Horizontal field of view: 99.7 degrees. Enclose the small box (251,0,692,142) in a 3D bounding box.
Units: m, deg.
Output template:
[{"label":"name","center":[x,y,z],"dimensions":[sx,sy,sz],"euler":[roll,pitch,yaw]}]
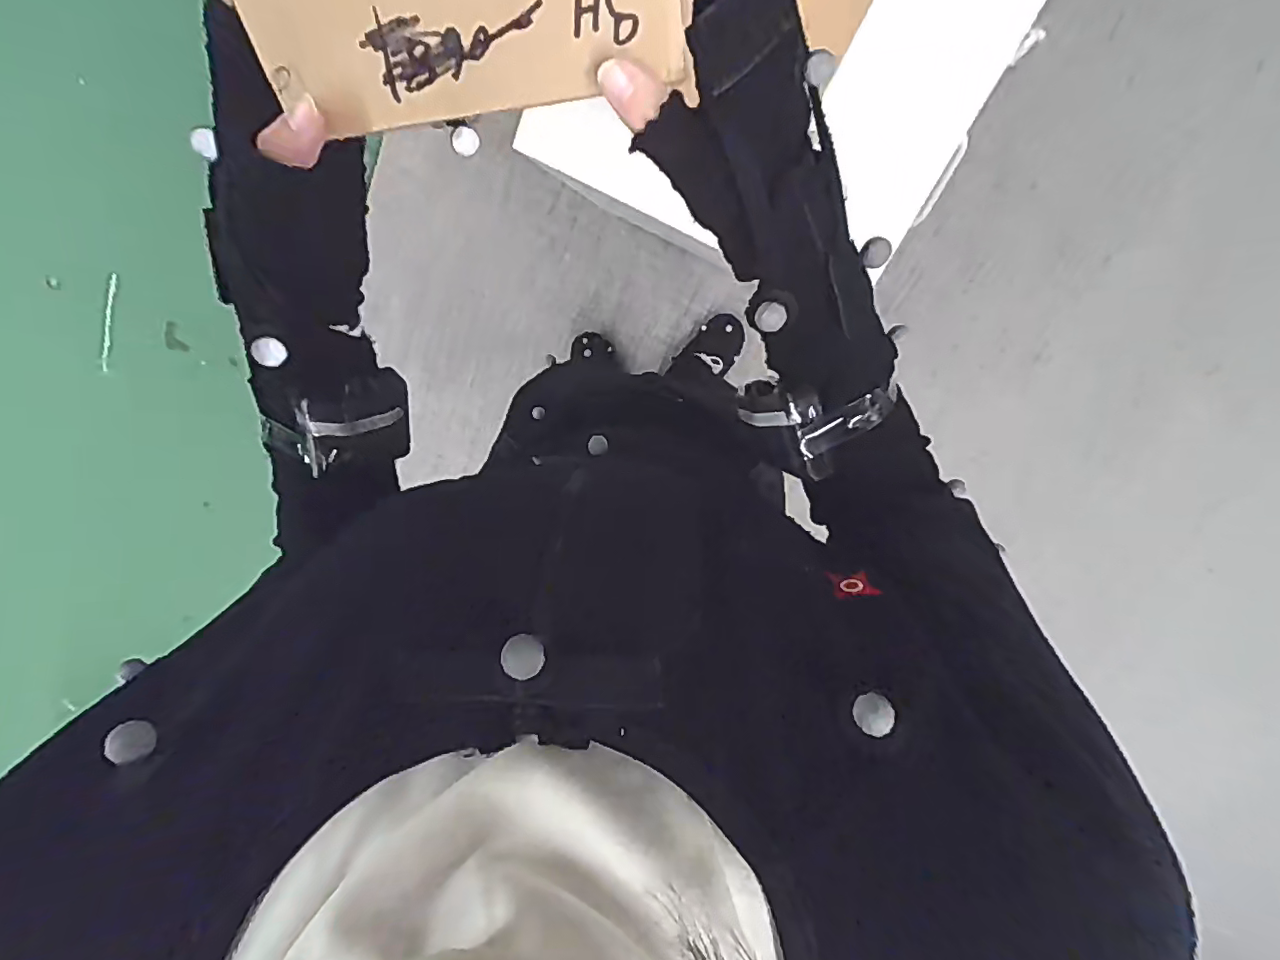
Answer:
[{"label":"small box","center":[-0.073,-0.271,0.241],"dimensions":[0.168,0.176,0.179],"euler":[-8,126,8]}]
